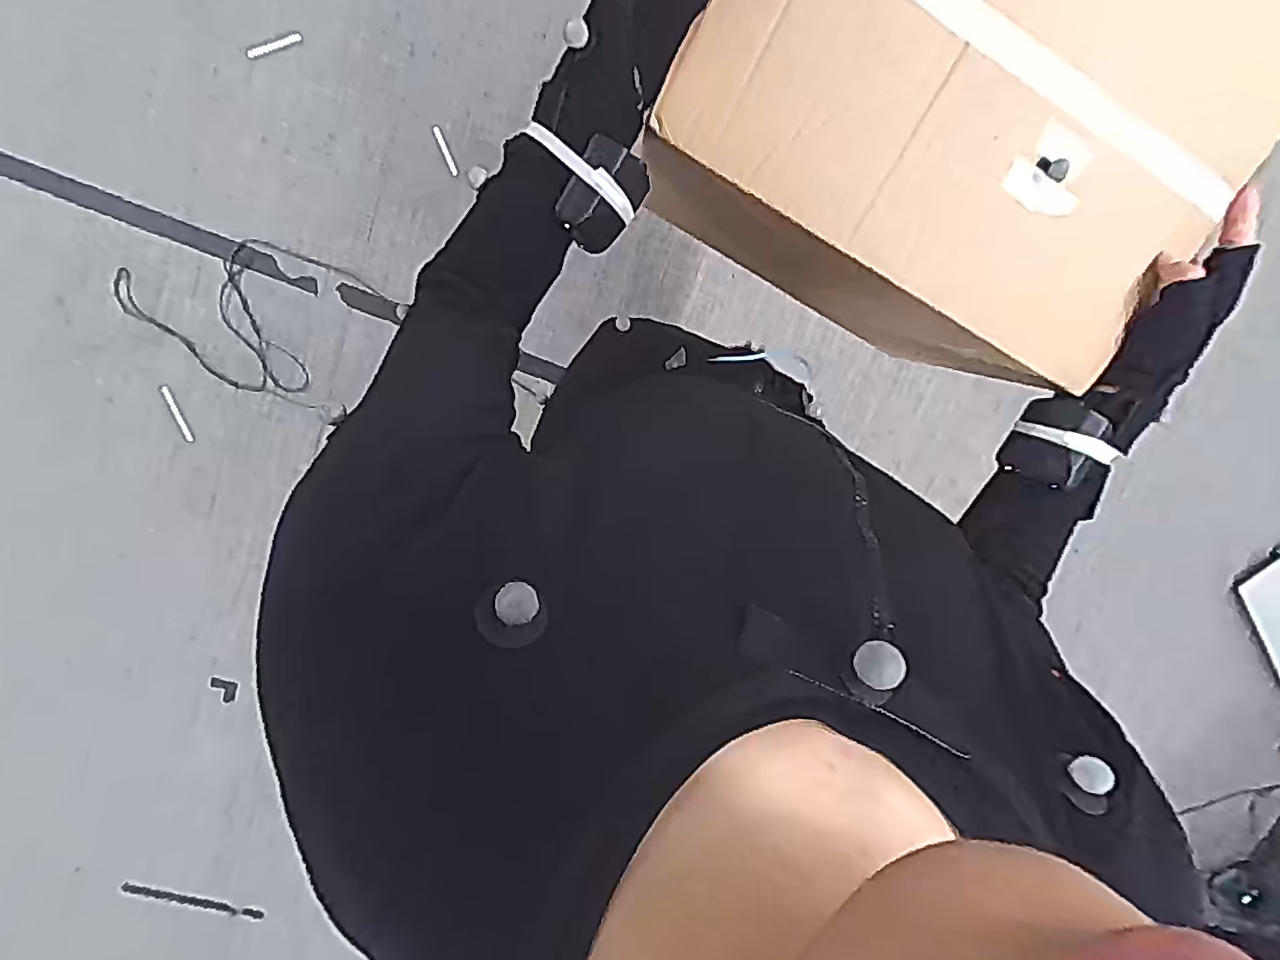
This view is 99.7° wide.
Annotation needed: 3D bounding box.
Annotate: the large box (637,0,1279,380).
[{"bbox_3d":[0.244,-0.342,0.518,0.408,0.320,0.320,26,107,-11],"label":"large box"}]
